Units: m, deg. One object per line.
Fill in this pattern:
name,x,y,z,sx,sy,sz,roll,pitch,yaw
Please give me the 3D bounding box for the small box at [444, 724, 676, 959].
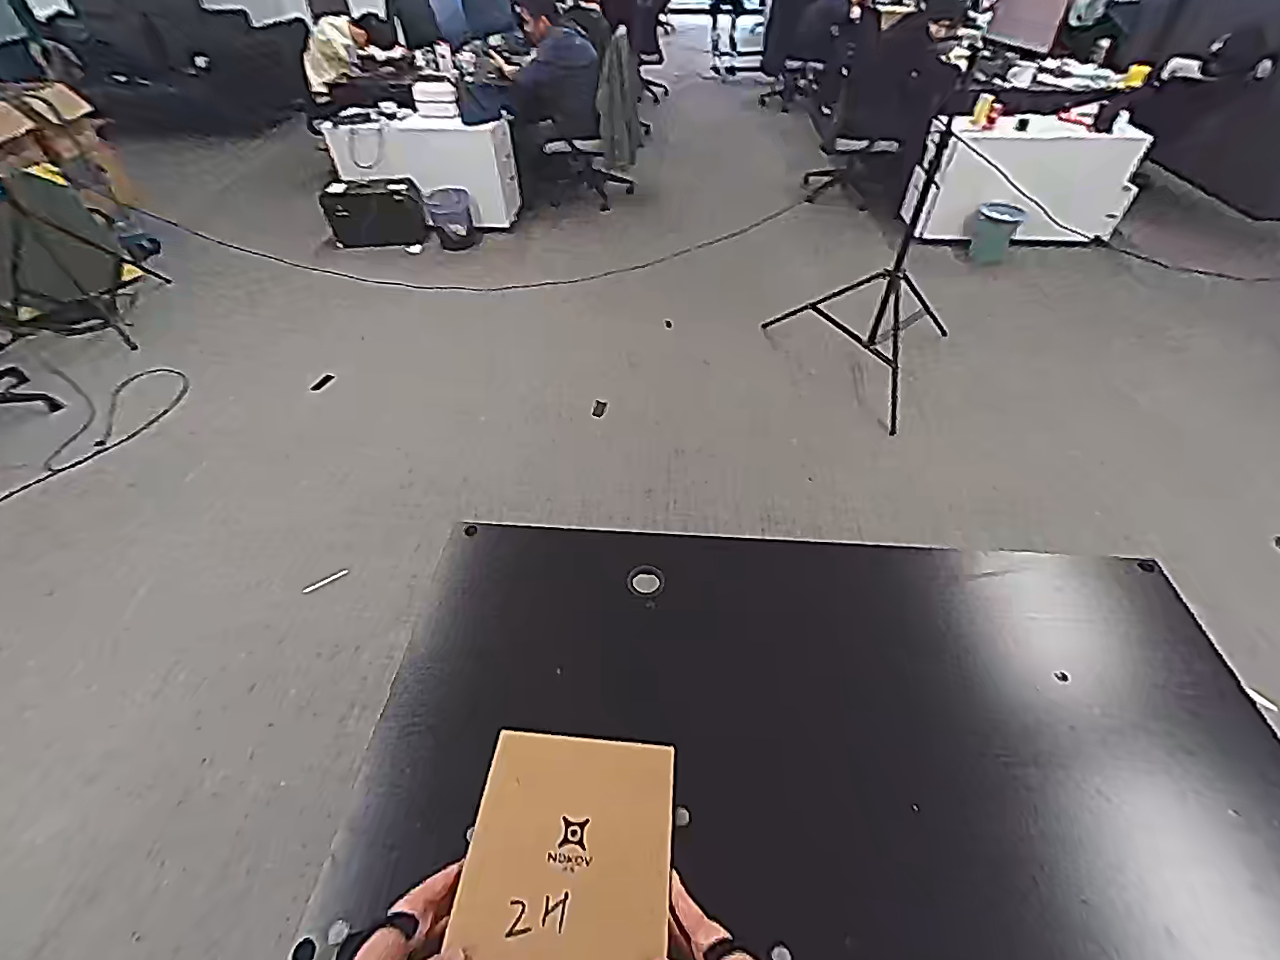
small box,-0.059,0.357,0.501,0.168,0.176,0.179,4,42,2
